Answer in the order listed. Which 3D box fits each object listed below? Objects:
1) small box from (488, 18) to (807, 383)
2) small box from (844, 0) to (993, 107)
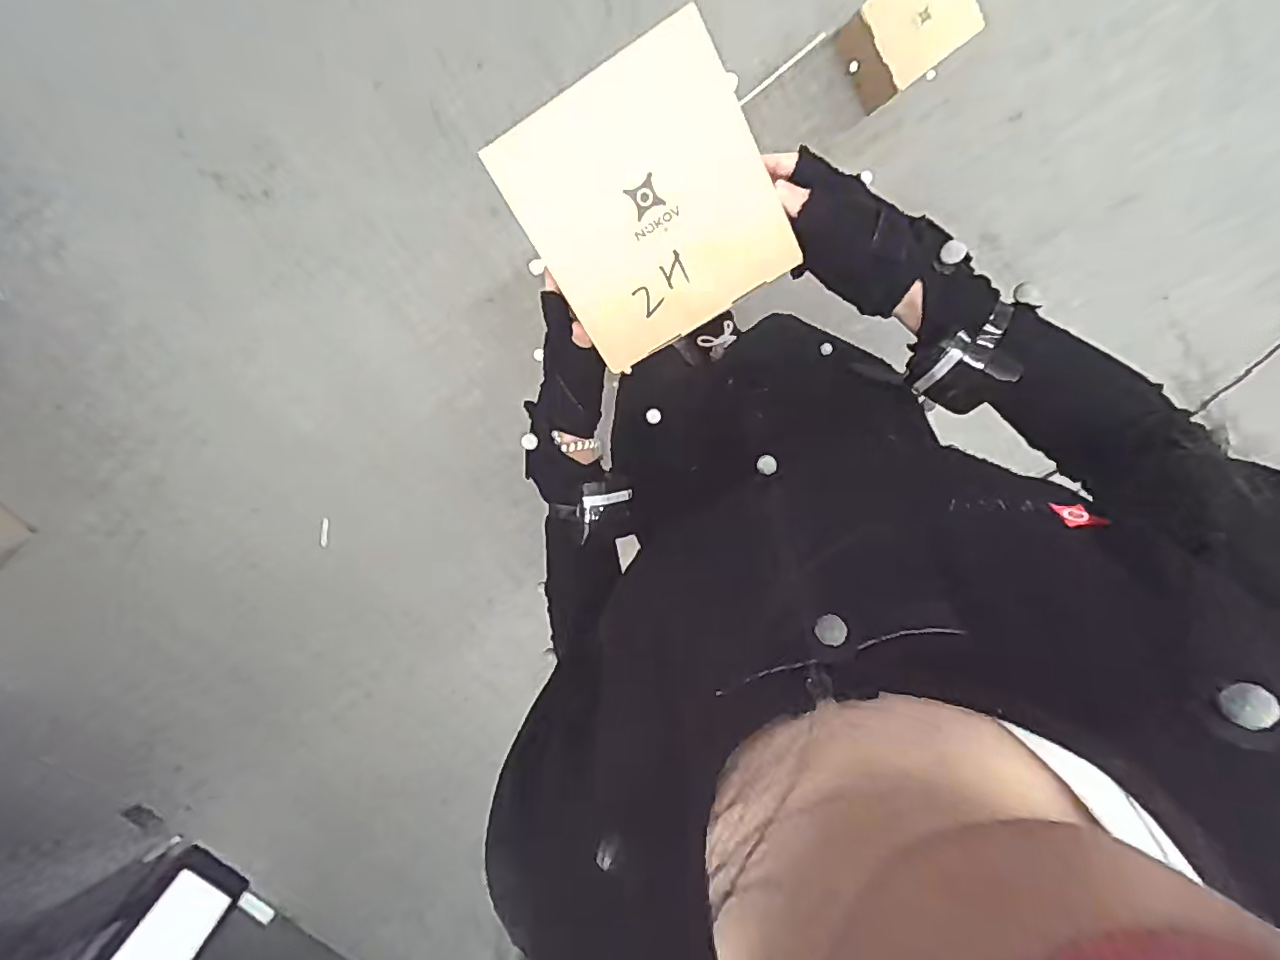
[{"bbox_3d":[0.005,-0.209,0.444,0.168,0.176,0.179,-29,113,9],"label":"small box"},{"bbox_3d":[0.533,-0.879,1.057,0.179,0.176,0.168,-33,107,15],"label":"small box"}]
